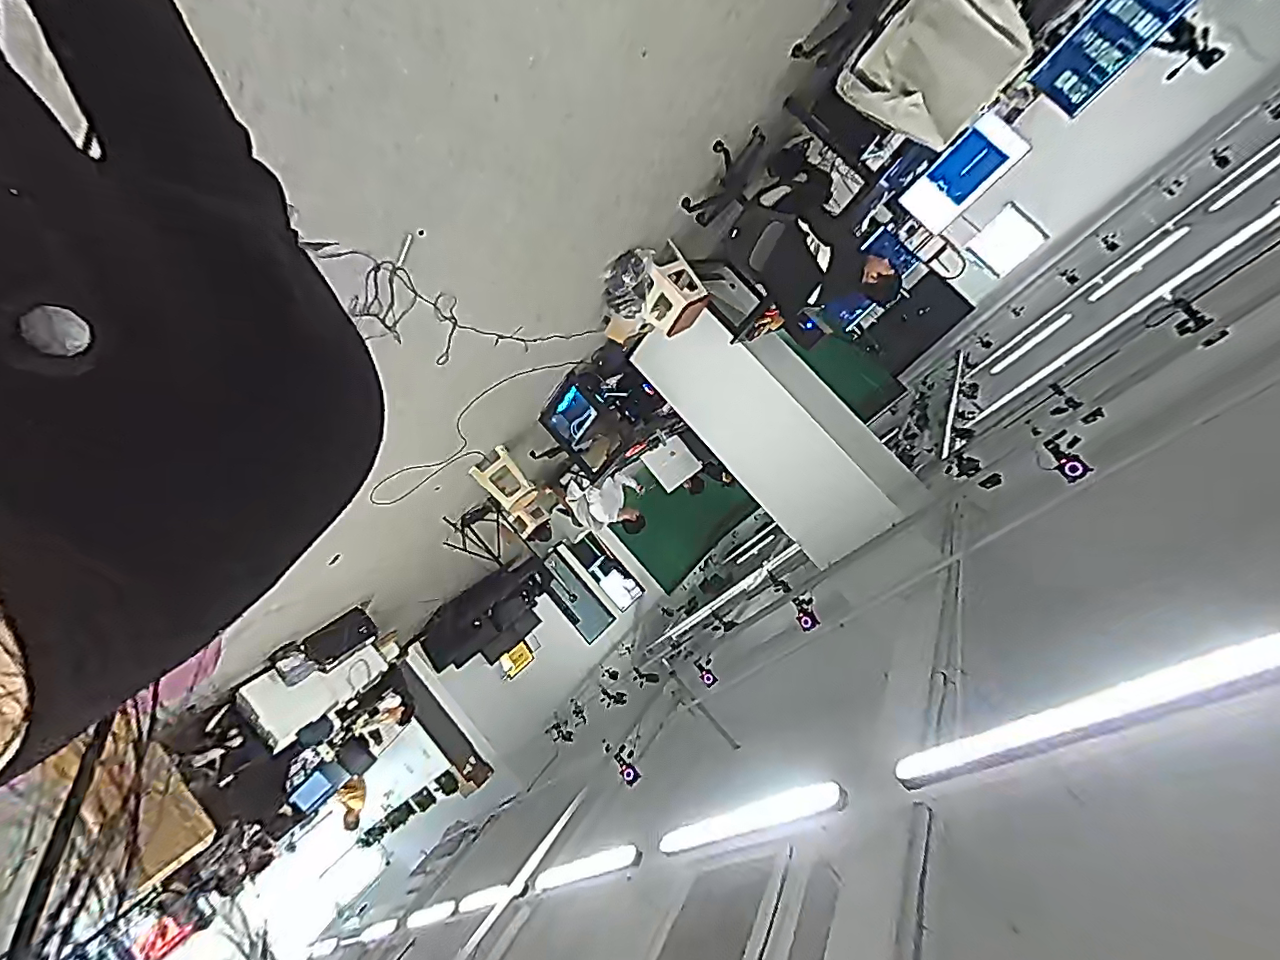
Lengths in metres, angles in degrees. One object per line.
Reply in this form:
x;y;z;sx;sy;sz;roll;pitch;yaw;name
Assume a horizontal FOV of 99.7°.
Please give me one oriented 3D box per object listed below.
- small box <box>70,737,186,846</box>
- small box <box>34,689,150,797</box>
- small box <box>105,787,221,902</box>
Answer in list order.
-1.338;0.811;1.413;0.179;0.176;0.168;-45;173;35;small box
-1.444;0.686;1.426;0.179;0.176;0.168;-46;173;35;small box
-1.228;0.932;1.391;0.179;0.176;0.168;-47;172;34;small box
